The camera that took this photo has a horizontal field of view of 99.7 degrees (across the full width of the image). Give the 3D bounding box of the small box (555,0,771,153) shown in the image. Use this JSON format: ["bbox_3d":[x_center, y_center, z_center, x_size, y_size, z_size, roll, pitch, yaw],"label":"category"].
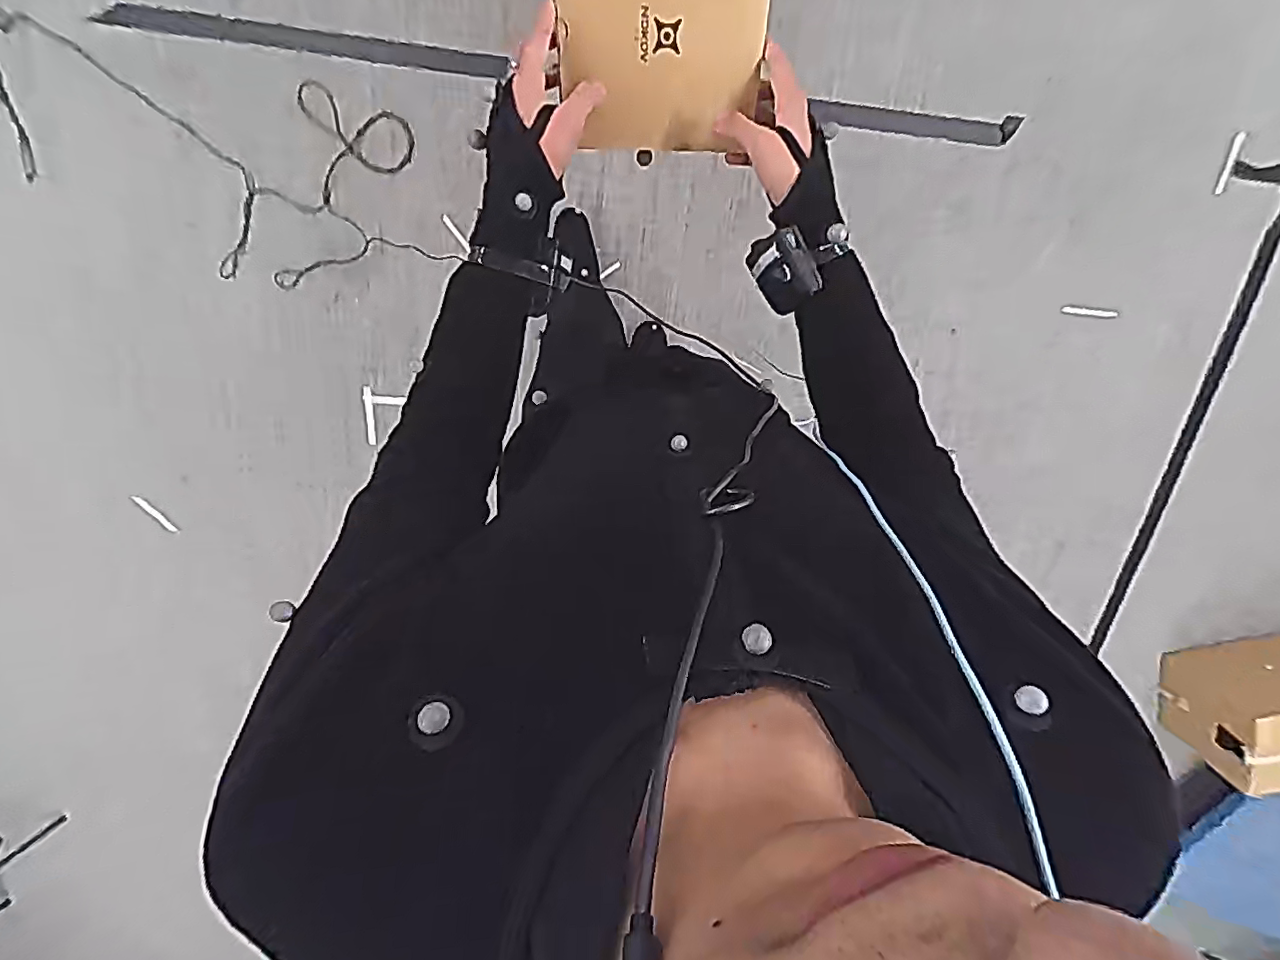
[{"bbox_3d":[0.013,-0.417,0.507,0.179,0.176,0.168,0,128,-3],"label":"small box"}]
